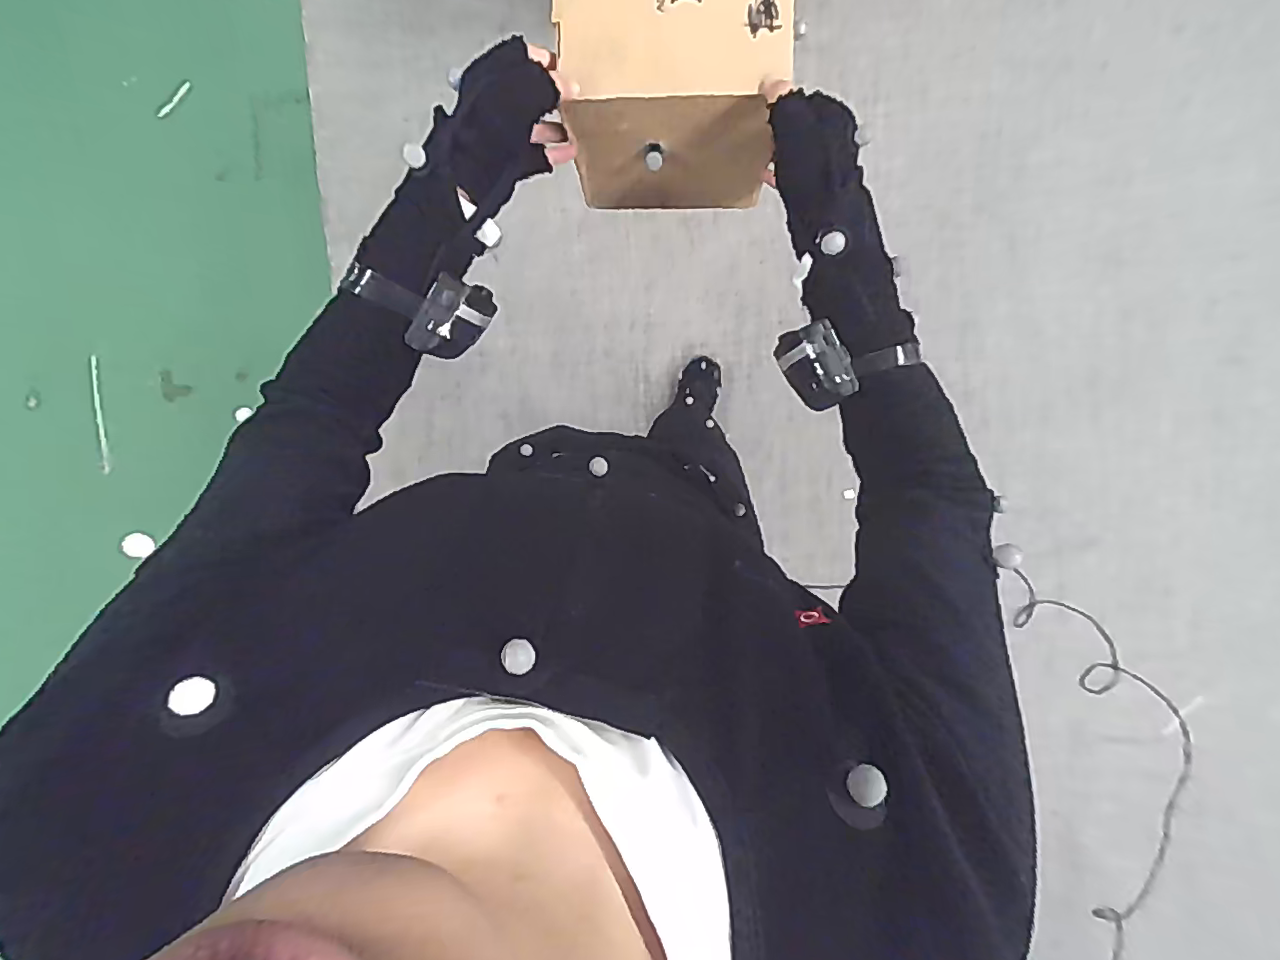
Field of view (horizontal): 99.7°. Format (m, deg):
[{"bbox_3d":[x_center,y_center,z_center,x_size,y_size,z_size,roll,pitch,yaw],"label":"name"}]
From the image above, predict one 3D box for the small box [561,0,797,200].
[{"bbox_3d":[0.034,-0.370,0.480,0.179,0.176,0.168,1,90,3],"label":"small box"}]
